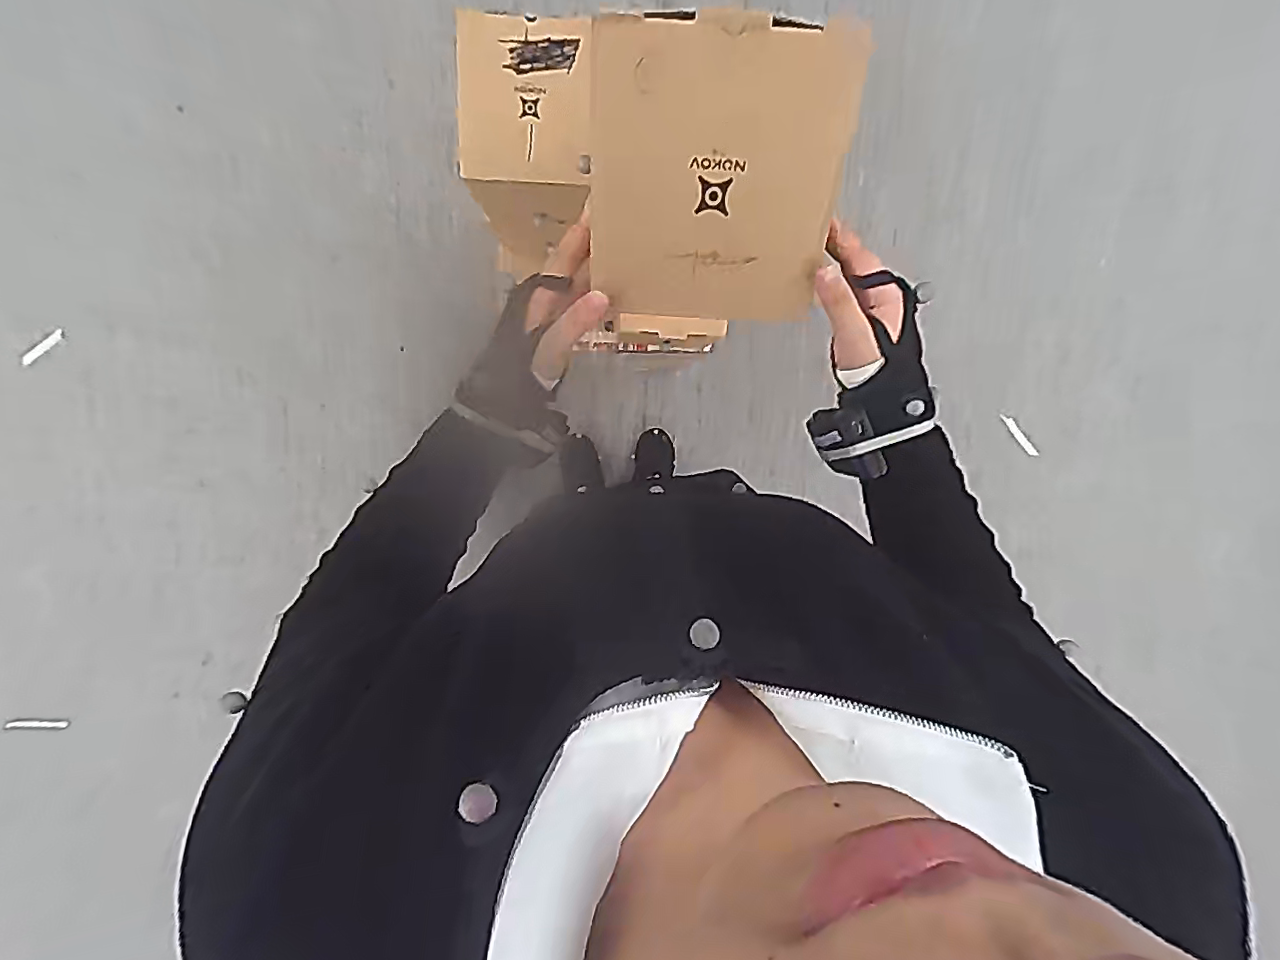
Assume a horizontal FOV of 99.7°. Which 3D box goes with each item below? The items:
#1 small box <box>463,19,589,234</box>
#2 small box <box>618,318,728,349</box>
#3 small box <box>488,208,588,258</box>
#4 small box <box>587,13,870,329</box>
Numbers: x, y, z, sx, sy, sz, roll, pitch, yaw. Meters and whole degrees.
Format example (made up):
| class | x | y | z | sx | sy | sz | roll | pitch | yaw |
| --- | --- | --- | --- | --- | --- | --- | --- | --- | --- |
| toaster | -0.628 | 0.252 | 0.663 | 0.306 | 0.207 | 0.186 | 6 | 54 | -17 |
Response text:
| class | x | y | z | sx | sy | sz | roll | pitch | yaw |
| --- | --- | --- | --- | --- | --- | --- | --- | --- | --- |
| small box | -0.122 | -0.435 | 0.694 | 0.168 | 0.176 | 0.179 | 2 | 99 | -2 |
| small box | 0.051 | -0.310 | 0.887 | 0.168 | 0.176 | 0.179 | 2 | 99 | -5 |
| small box | -0.144 | -0.464 | 0.855 | 0.168 | 0.176 | 0.179 | -2 | 99 | -1 |
| small box | 0.048 | -0.236 | 0.418 | 0.168 | 0.176 | 0.179 | 3 | 128 | 0 |
